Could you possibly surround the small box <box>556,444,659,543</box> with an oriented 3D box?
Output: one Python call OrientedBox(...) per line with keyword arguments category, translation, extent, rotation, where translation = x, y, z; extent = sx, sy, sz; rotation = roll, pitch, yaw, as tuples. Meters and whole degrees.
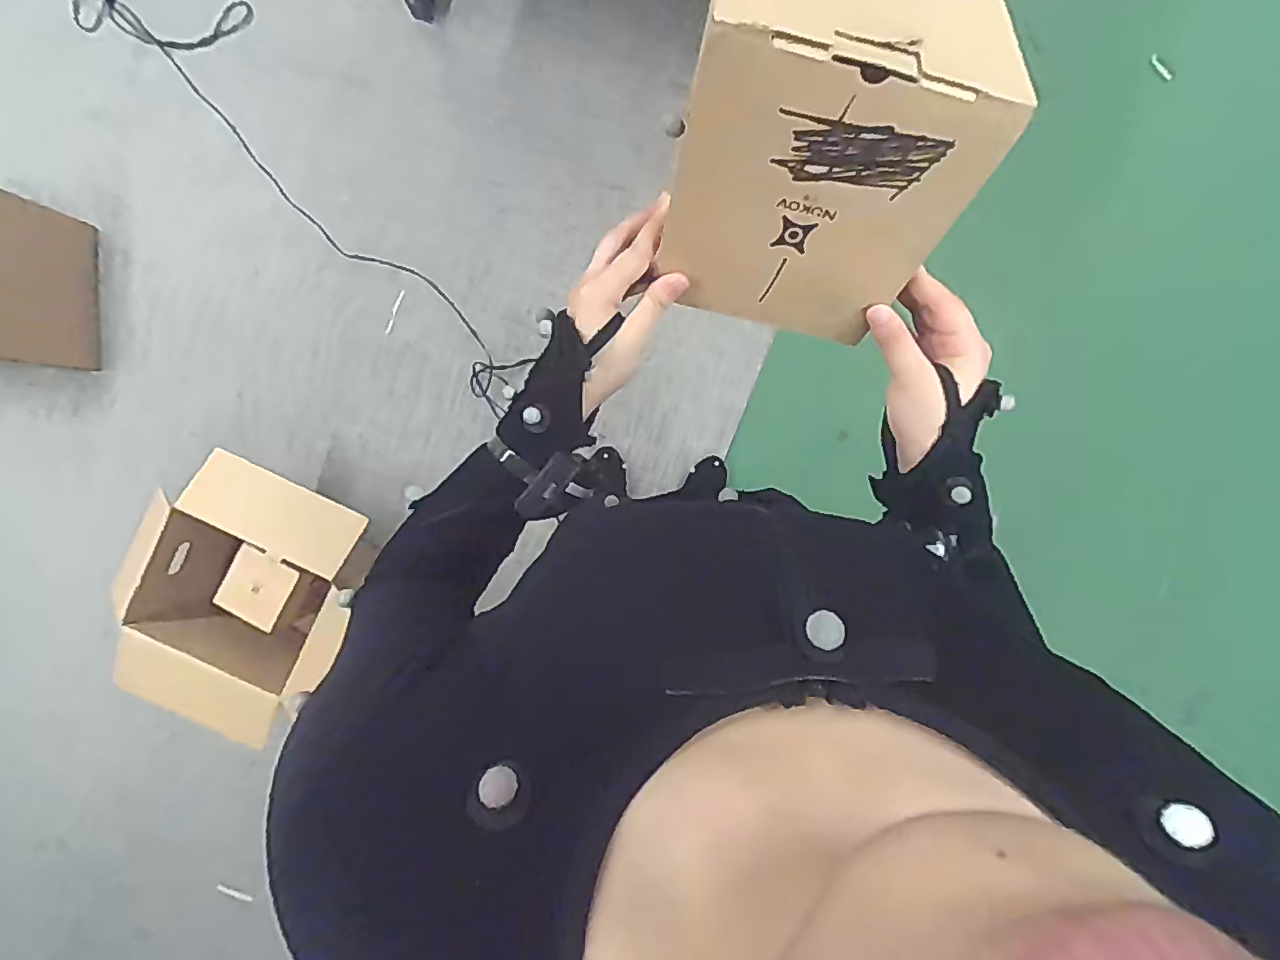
OrientedBox(category="small box", translation=(-0.074, 0.031, 1.391), extent=(0.179, 0.168, 0.176), rotation=(-50, 121, -20))
